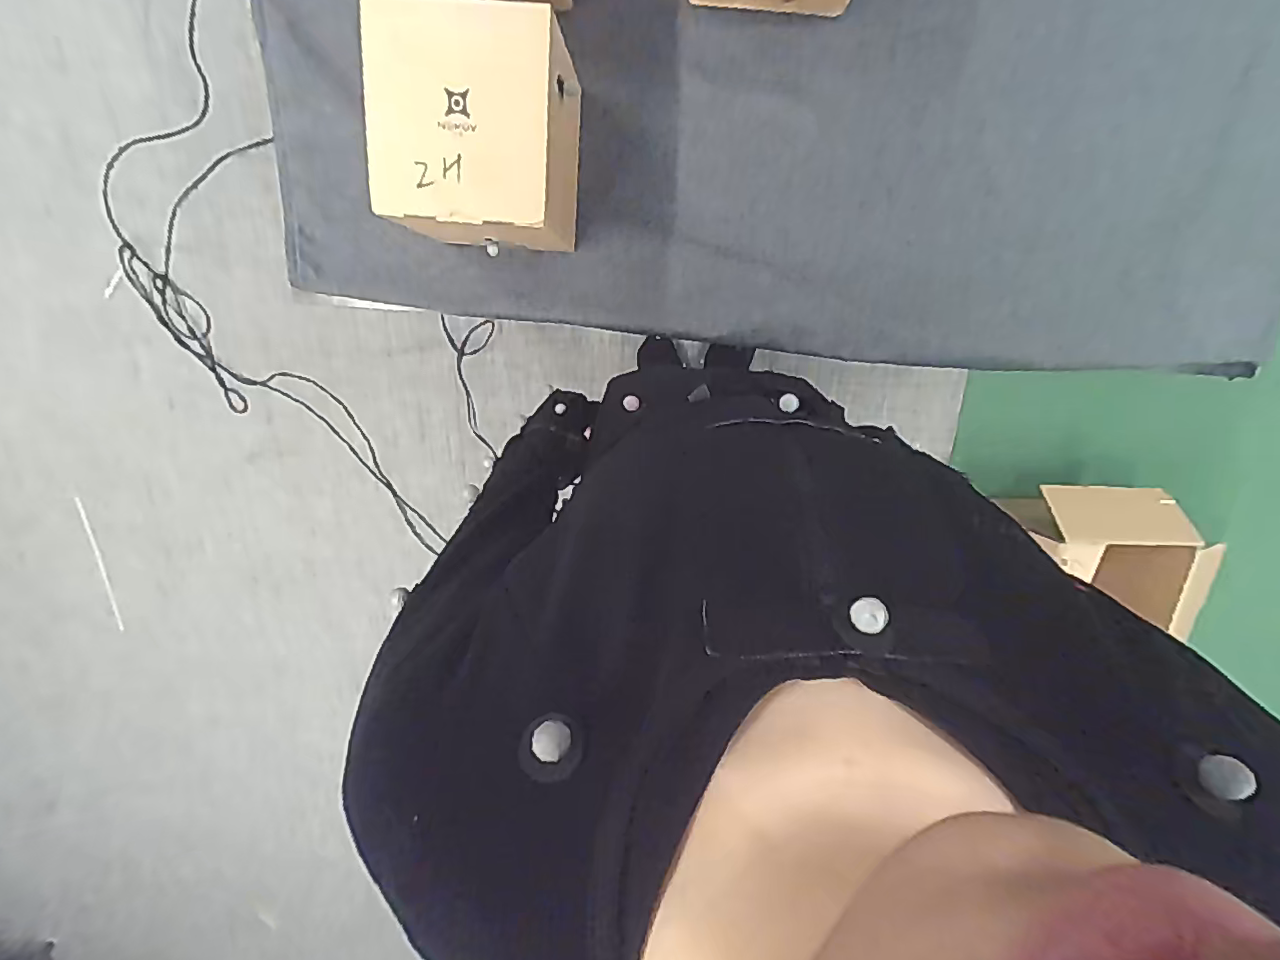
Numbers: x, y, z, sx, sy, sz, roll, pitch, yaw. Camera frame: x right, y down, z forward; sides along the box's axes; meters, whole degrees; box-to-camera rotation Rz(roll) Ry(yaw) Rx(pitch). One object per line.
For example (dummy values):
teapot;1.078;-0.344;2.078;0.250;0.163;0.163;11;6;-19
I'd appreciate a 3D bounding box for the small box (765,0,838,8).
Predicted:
small box;0.139;-0.569;0.474;0.168;0.176;0.179;6;109;1

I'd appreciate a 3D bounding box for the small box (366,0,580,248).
small box;-0.156;-0.350;0.555;0.168;0.176;0.179;5;106;1
